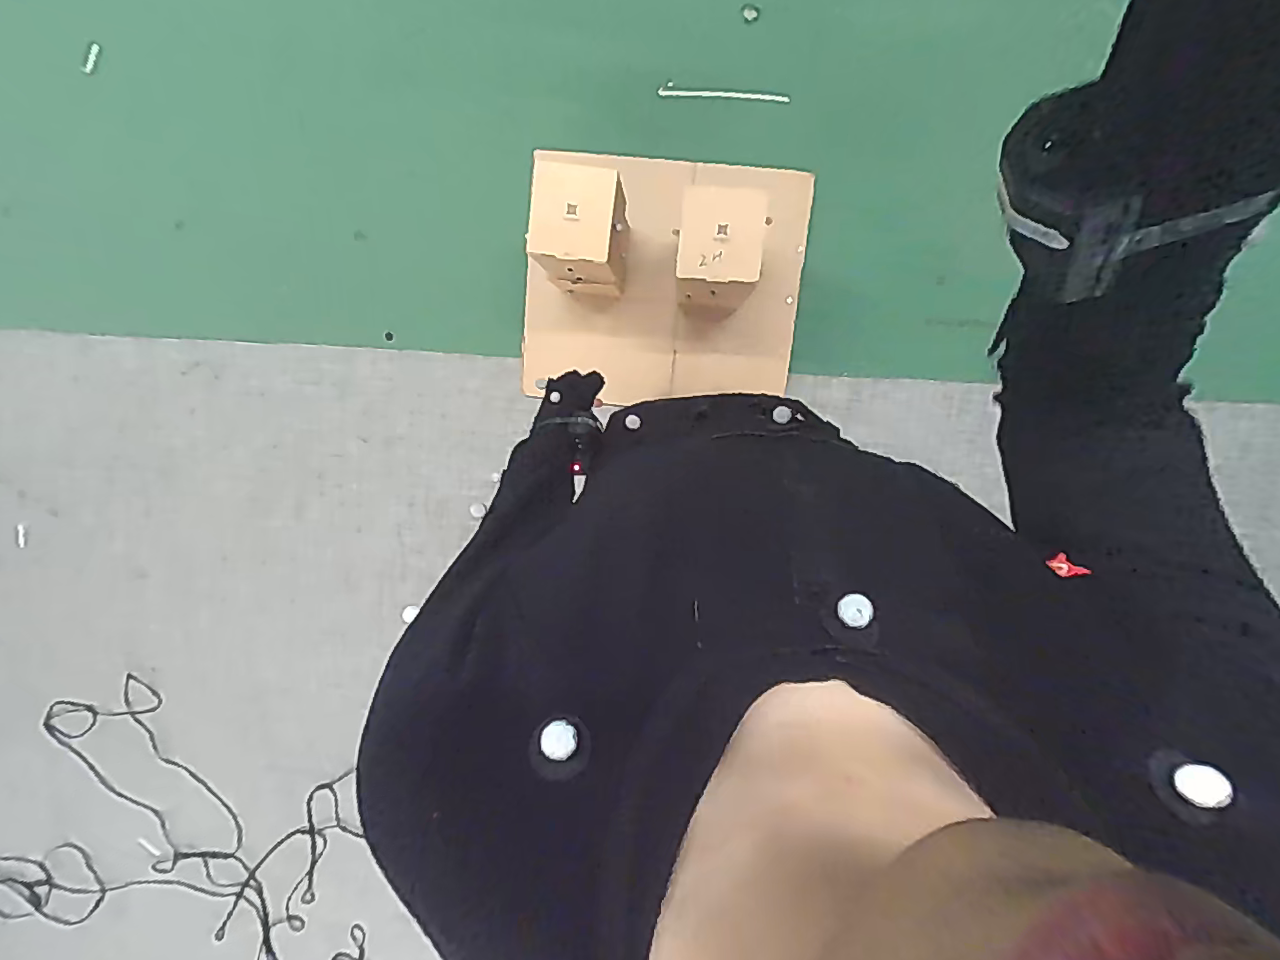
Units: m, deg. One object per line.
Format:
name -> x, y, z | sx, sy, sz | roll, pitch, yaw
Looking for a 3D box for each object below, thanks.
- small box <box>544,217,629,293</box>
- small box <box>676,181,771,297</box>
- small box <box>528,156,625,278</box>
small box -> -0.122, -0.554, 1.291 | 0.168, 0.176, 0.179 | 8, 99, 3
small box -> 0.164, -0.489, 1.118 | 0.168, 0.176, 0.179 | 6, 99, 4
small box -> -0.126, -0.539, 1.129 | 0.168, 0.176, 0.179 | 9, 100, 2
